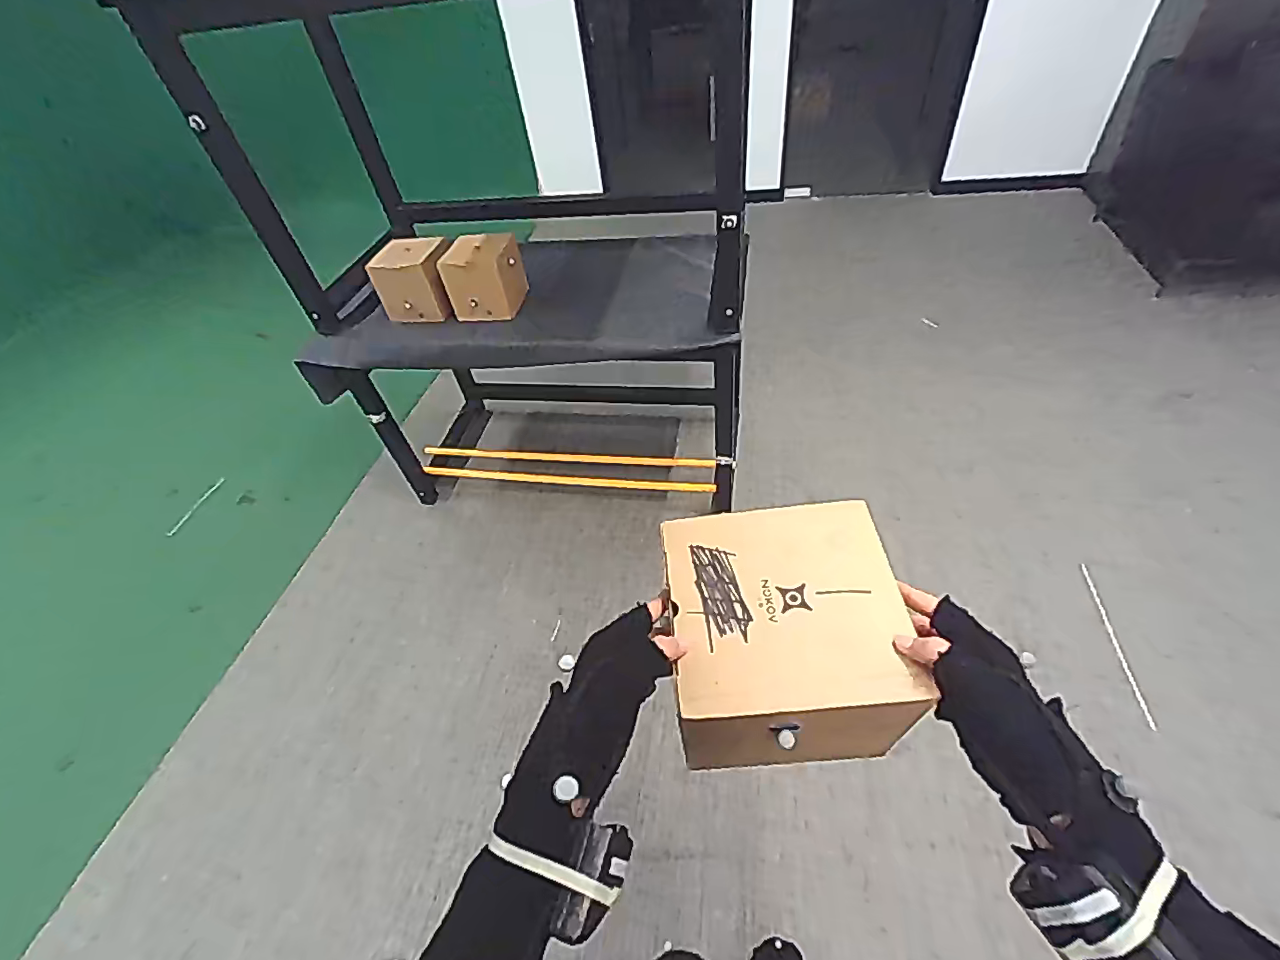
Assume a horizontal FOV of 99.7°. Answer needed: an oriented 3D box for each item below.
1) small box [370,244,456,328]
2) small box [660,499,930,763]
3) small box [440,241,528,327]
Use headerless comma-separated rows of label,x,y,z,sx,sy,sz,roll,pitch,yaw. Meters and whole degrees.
small box,-0.628,-0.556,1.549,0.168,0.176,0.179,2,47,10
small box,0.116,0.138,0.477,0.179,0.176,0.168,-6,50,3
small box,-0.427,-0.549,1.517,0.168,0.176,0.179,1,47,11
